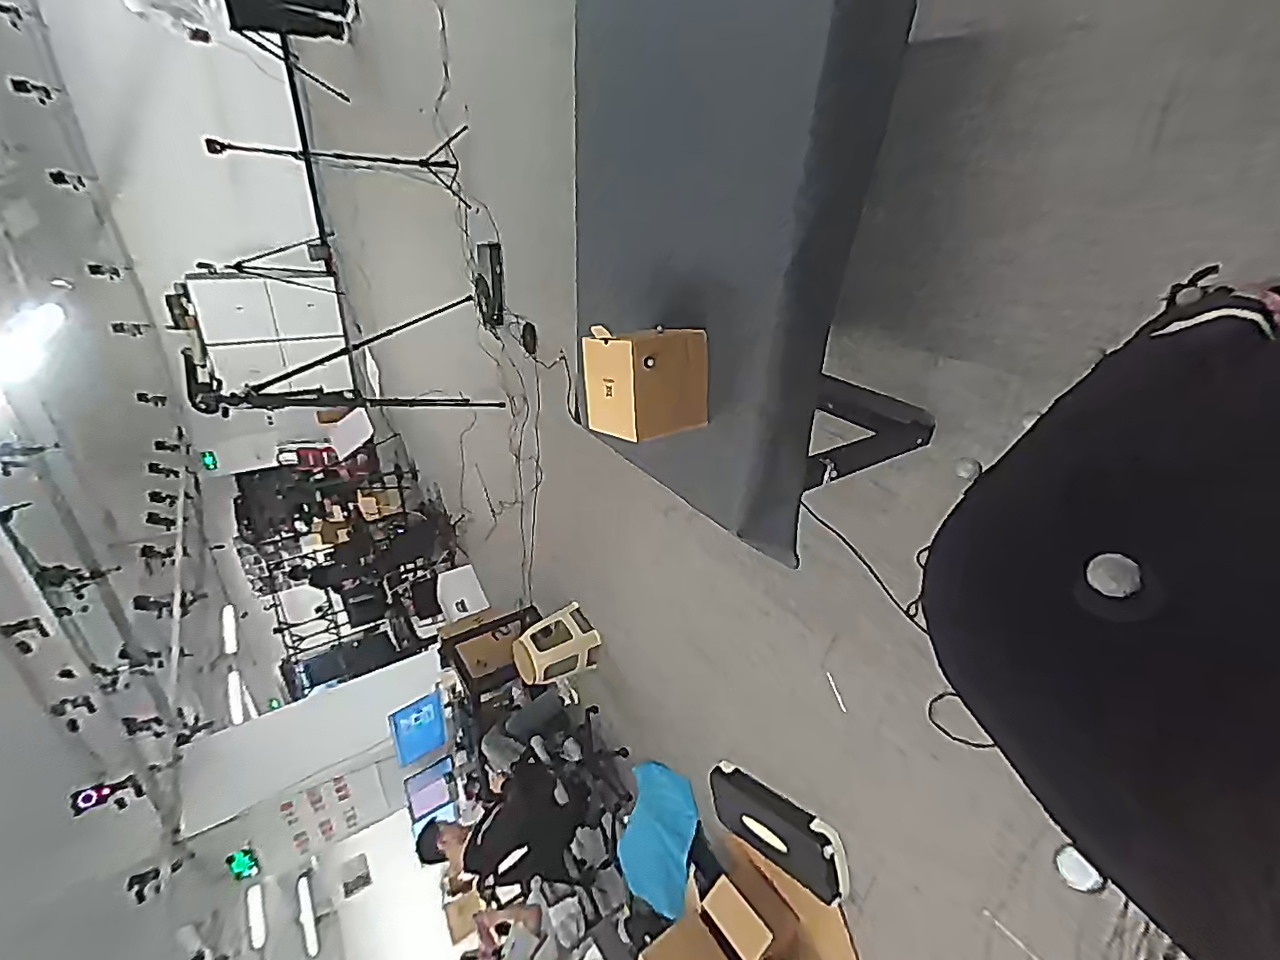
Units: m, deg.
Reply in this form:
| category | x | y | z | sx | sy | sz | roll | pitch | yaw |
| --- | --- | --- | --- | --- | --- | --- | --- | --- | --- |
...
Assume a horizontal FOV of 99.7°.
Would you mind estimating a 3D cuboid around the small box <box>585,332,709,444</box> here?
| category | x | y | z | sx | sy | sz | roll | pitch | yaw |
| --- | --- | --- | --- | --- | --- | --- | --- | --- | --- |
| small box | 0.015 | -0.178 | 1.005 | 0.168 | 0.176 | 0.179 | 21 | 119 | 52 |
